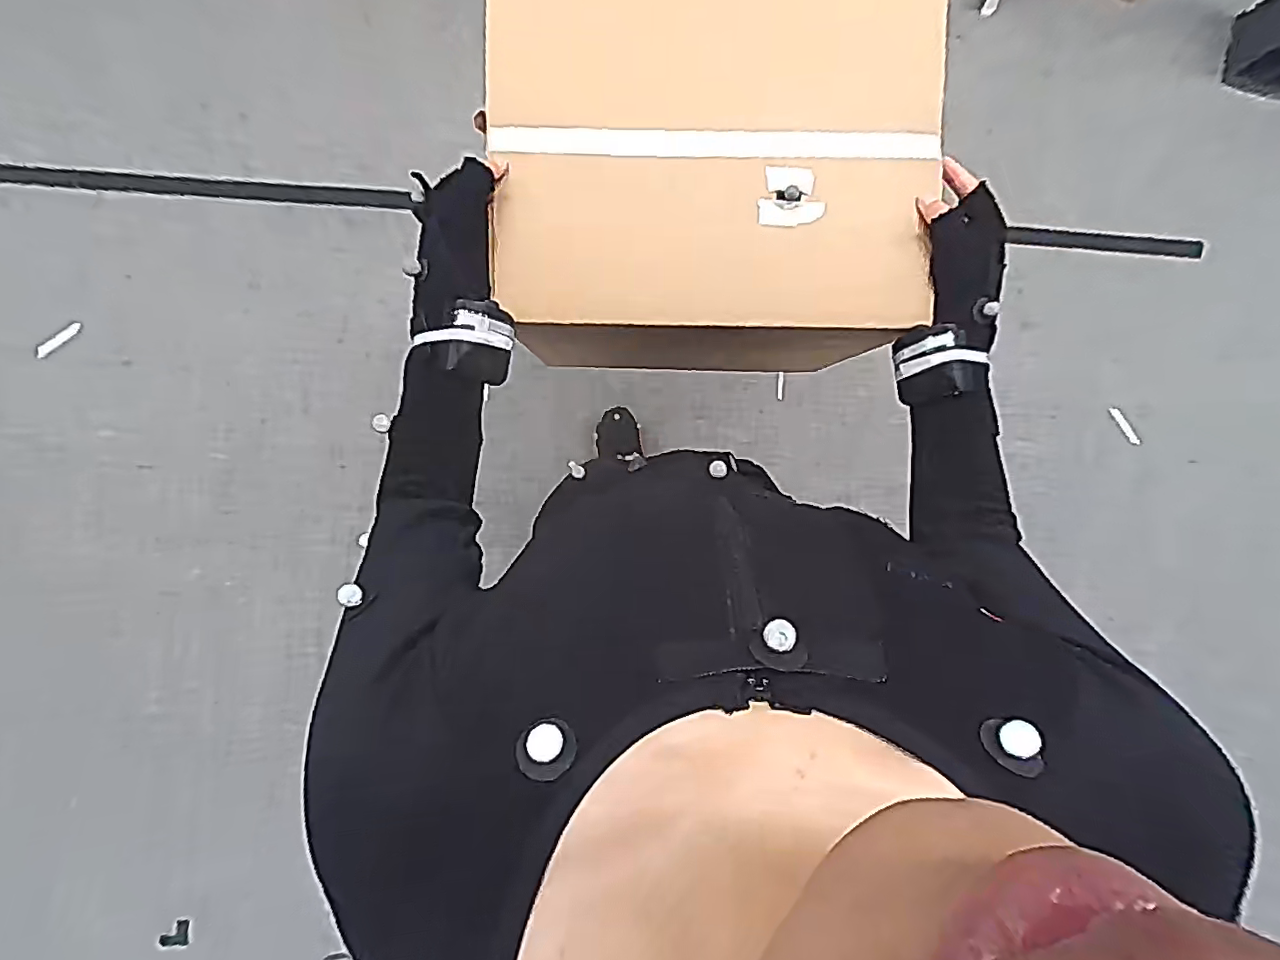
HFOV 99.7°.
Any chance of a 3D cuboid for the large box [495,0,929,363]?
[{"bbox_3d":[0.063,-0.319,0.648,0.408,0.320,0.320,1,95,-1],"label":"large box"}]
